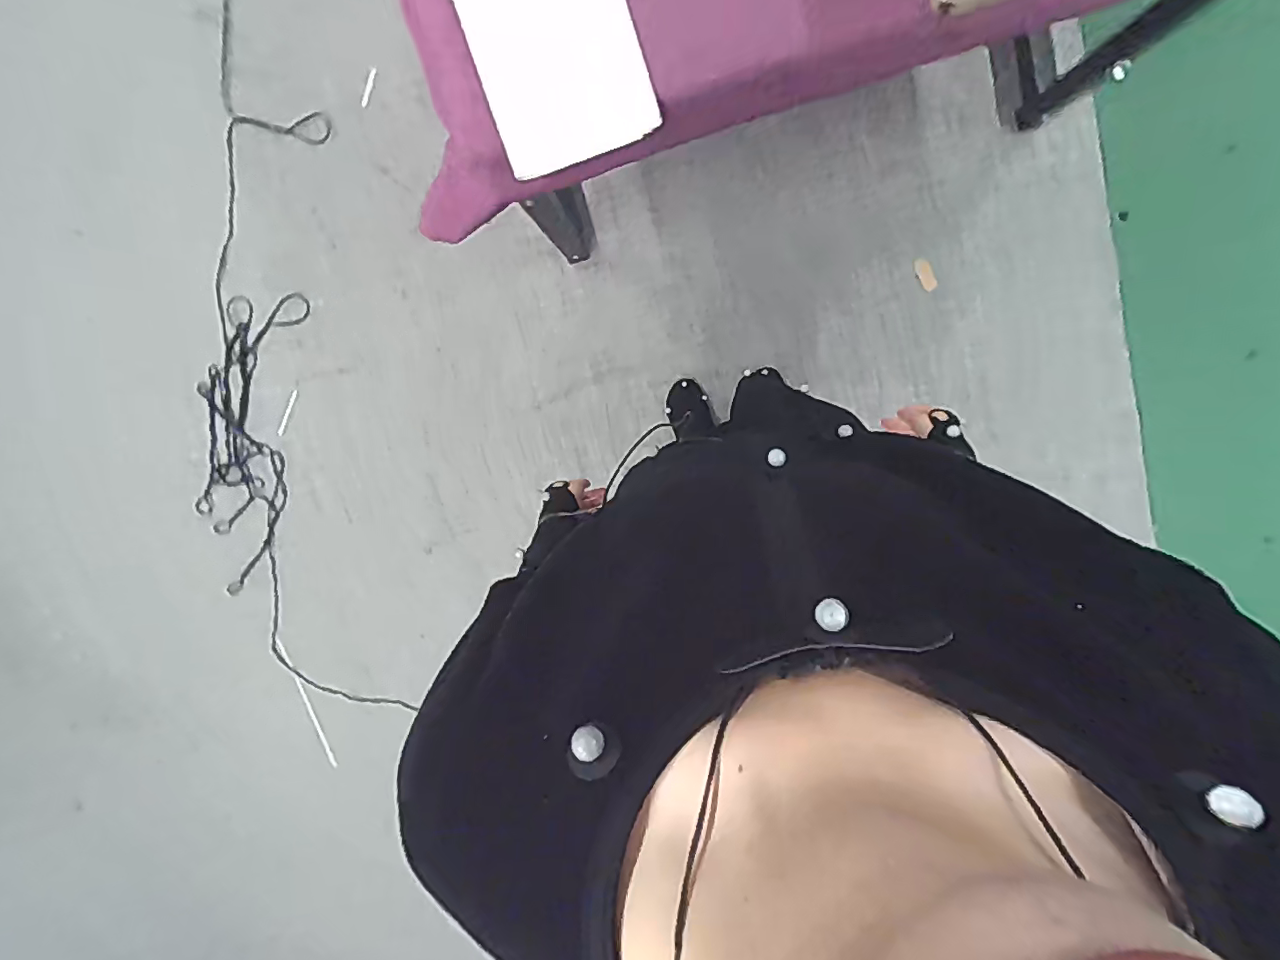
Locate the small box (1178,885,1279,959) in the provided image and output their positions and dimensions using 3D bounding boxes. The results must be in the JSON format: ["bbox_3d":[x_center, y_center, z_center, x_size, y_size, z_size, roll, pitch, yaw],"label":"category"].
[{"bbox_3d":[1.350,1.048,1.189,0.179,0.176,0.168,-25,97,8],"label":"small box"}]
